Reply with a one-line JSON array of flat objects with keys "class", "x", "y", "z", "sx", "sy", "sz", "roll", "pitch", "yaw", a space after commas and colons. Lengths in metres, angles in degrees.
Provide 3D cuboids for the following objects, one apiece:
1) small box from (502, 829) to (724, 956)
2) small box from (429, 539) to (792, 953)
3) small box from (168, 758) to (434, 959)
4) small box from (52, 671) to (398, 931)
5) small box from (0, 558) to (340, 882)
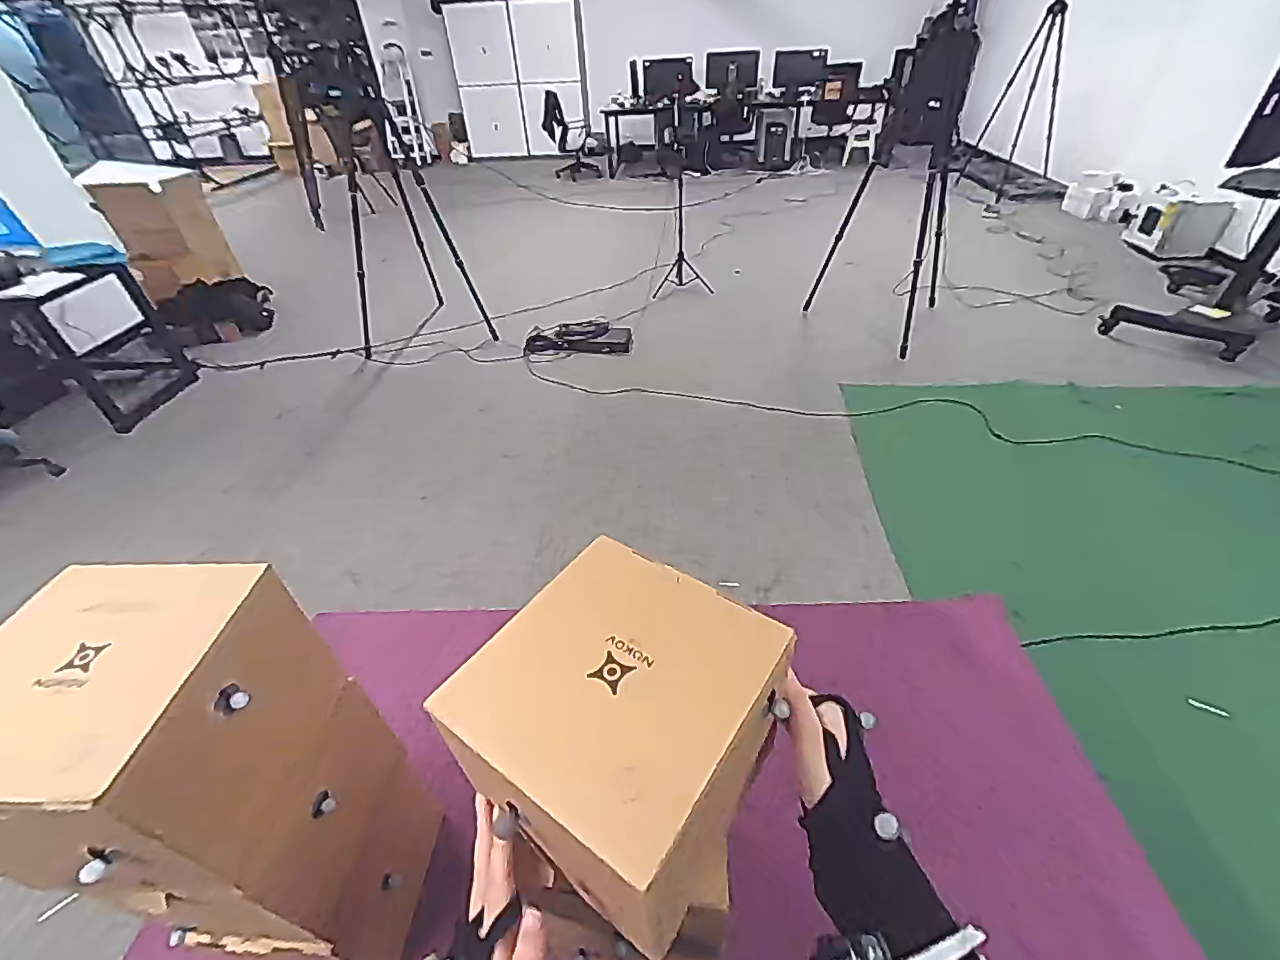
[{"class": "small box", "x": -0.011, "y": 0.302, "z": 0.501, "sx": 0.168, "sy": 0.176, "sz": 0.179, "roll": 2, "pitch": 41, "yaw": 6}, {"class": "small box", "x": -0.011, "y": 0.182, "z": 0.390, "sx": 0.168, "sy": 0.176, "sz": 0.179, "roll": 25, "pitch": 46, "yaw": 29}, {"class": "small box", "x": -0.360, "y": 0.433, "z": 0.620, "sx": 0.168, "sy": 0.176, "sz": 0.179, "roll": 2, "pitch": 41, "yaw": 4}, {"class": "small box", "x": -0.362, "y": 0.302, "z": 0.520, "sx": 0.168, "sy": 0.176, "sz": 0.179, "roll": 2, "pitch": 39, "yaw": 5}, {"class": "small box", "x": -0.366, "y": 0.180, "z": 0.412, "sx": 0.168, "sy": 0.176, "sz": 0.179, "roll": 1, "pitch": 40, "yaw": 3}]
